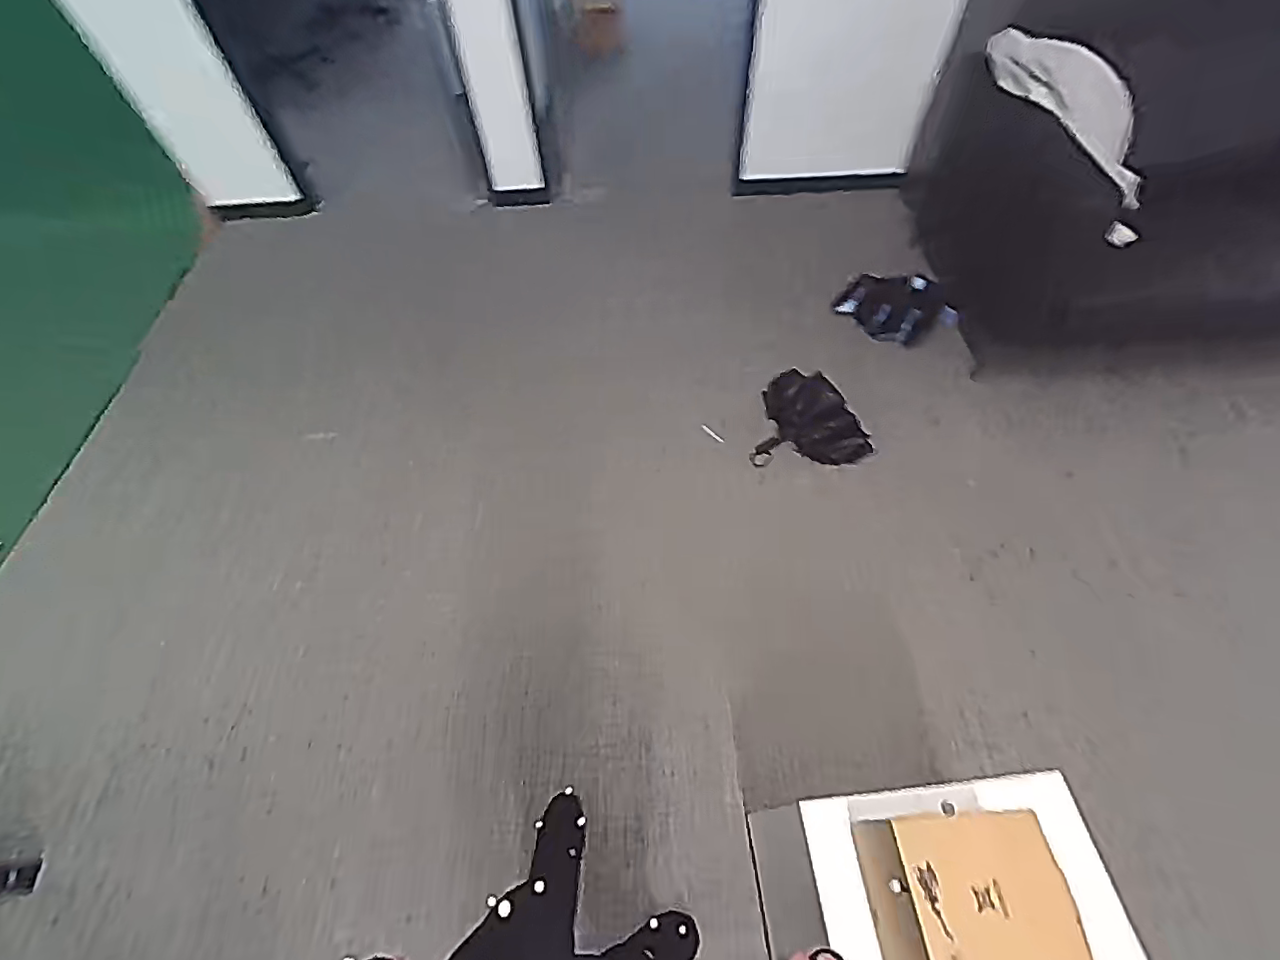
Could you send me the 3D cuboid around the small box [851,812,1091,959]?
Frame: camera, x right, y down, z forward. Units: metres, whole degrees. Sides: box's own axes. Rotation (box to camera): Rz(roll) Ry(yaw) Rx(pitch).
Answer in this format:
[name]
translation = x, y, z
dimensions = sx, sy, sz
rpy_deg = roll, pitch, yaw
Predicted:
[small box]
translation = 0.388, 0.510, 0.665
dimensions = 0.179, 0.176, 0.168
rpy_deg = -4, 57, -1
